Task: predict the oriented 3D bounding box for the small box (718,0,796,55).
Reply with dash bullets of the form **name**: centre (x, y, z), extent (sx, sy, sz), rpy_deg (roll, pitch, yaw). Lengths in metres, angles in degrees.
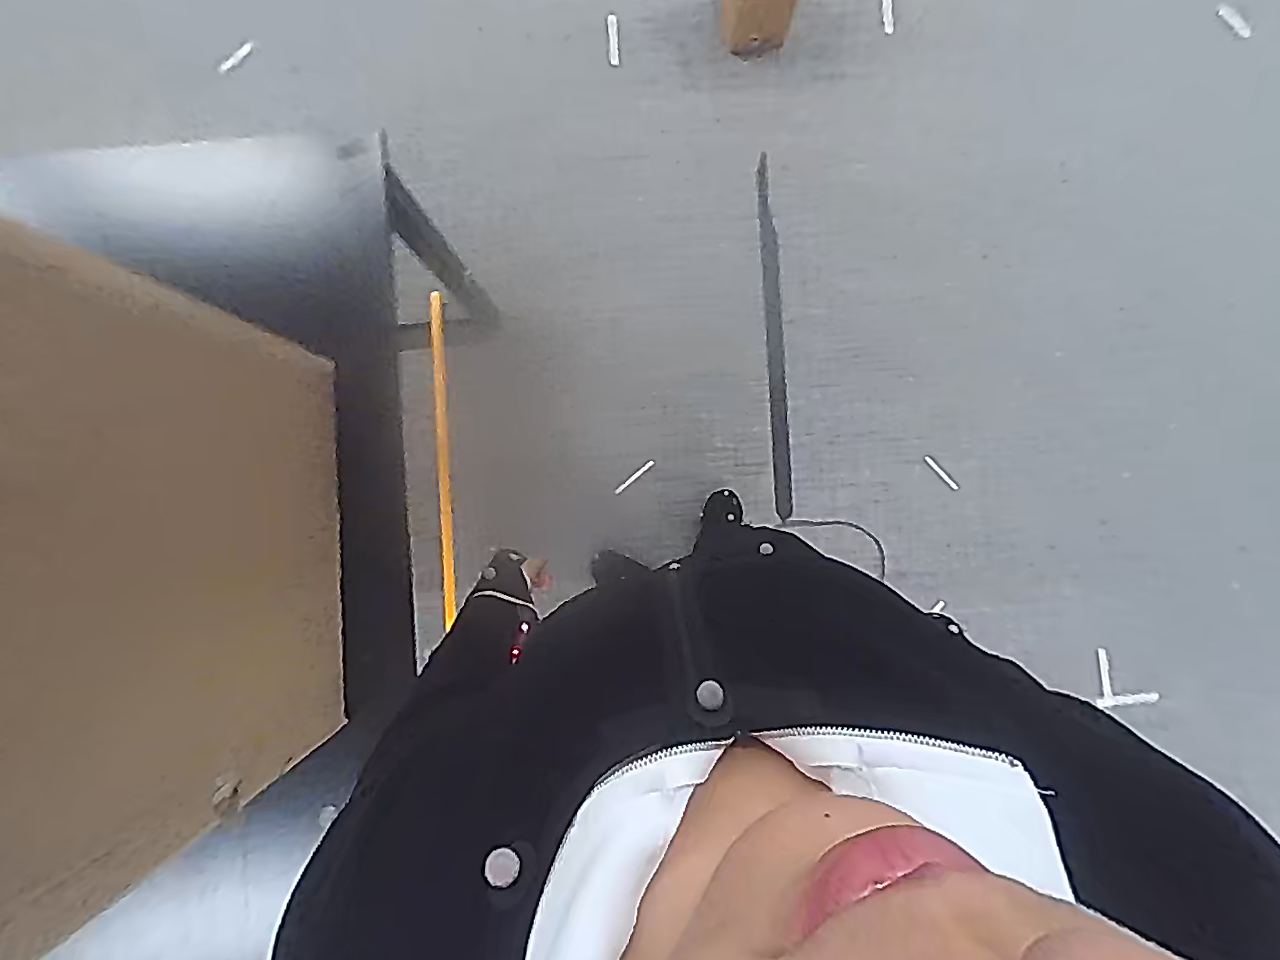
- **small box**: centre (0.317, -1.324, 1.485), extent (0.168, 0.176, 0.179), rpy_deg (-9, 89, 0)
